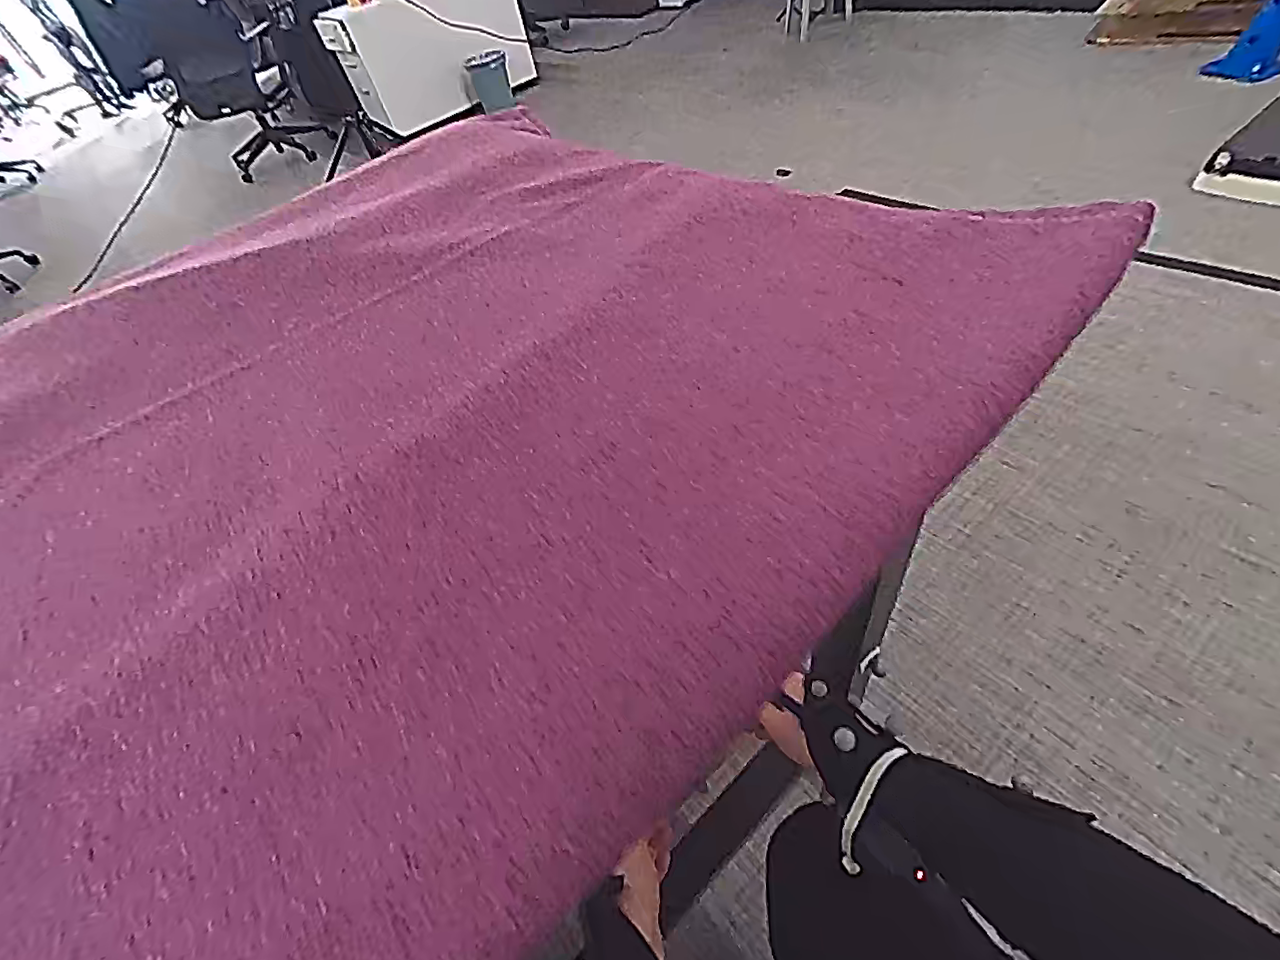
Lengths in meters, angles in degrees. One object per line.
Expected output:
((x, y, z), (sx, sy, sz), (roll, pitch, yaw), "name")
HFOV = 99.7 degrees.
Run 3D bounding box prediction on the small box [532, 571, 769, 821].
((0.013, 0.238, 0.586), (0.168, 0.176, 0.179), (-37, 60, -17), "small box")
